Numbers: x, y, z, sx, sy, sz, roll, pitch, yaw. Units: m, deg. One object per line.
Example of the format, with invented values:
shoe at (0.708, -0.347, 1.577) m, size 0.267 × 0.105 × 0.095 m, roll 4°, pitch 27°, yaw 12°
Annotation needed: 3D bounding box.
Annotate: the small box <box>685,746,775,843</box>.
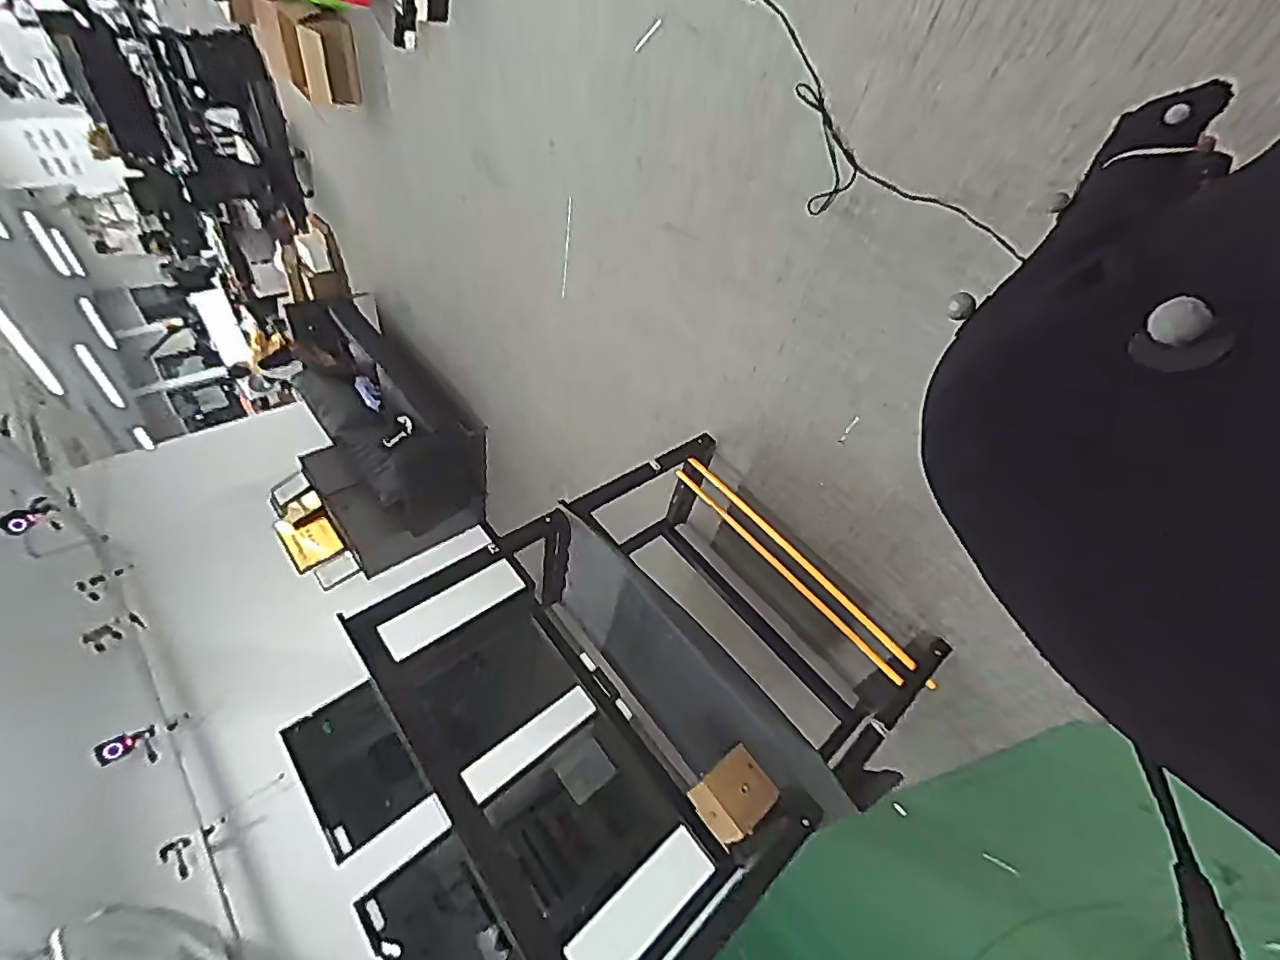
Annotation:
small box at (0.262, 0.902, 1.562) m, size 0.168 × 0.176 × 0.179 m, roll 47°, pitch 145°, yaw 23°
